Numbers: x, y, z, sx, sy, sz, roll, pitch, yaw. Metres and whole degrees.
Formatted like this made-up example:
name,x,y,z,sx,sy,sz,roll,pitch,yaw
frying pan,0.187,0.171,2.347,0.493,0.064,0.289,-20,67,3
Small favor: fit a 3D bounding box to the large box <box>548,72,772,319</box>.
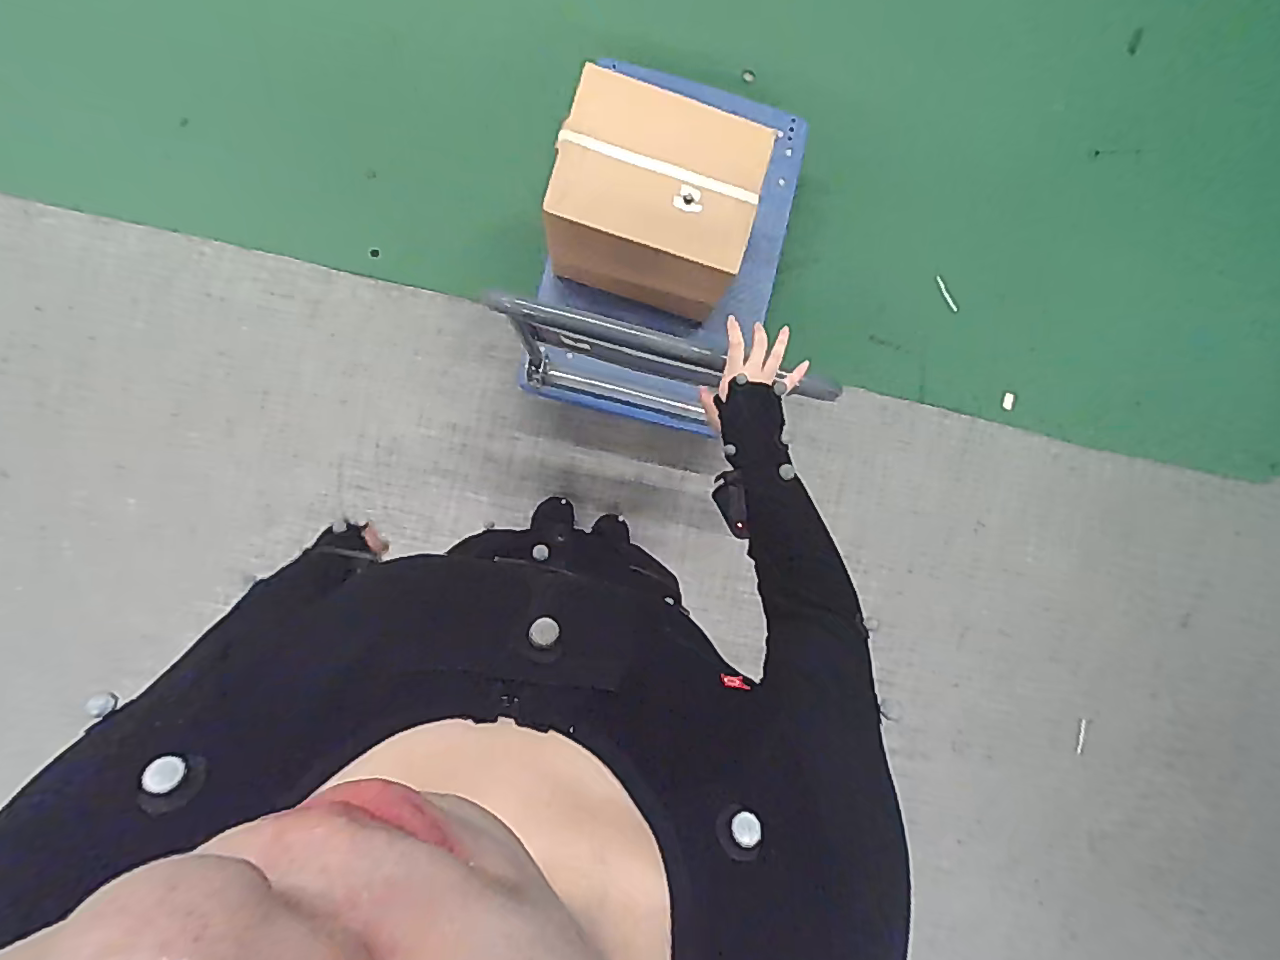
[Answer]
name,x,y,z,sx,sy,sz,roll,pitch,yaw
large box,0.028,-0.613,1.233,0.408,0.320,0.320,16,87,-6
